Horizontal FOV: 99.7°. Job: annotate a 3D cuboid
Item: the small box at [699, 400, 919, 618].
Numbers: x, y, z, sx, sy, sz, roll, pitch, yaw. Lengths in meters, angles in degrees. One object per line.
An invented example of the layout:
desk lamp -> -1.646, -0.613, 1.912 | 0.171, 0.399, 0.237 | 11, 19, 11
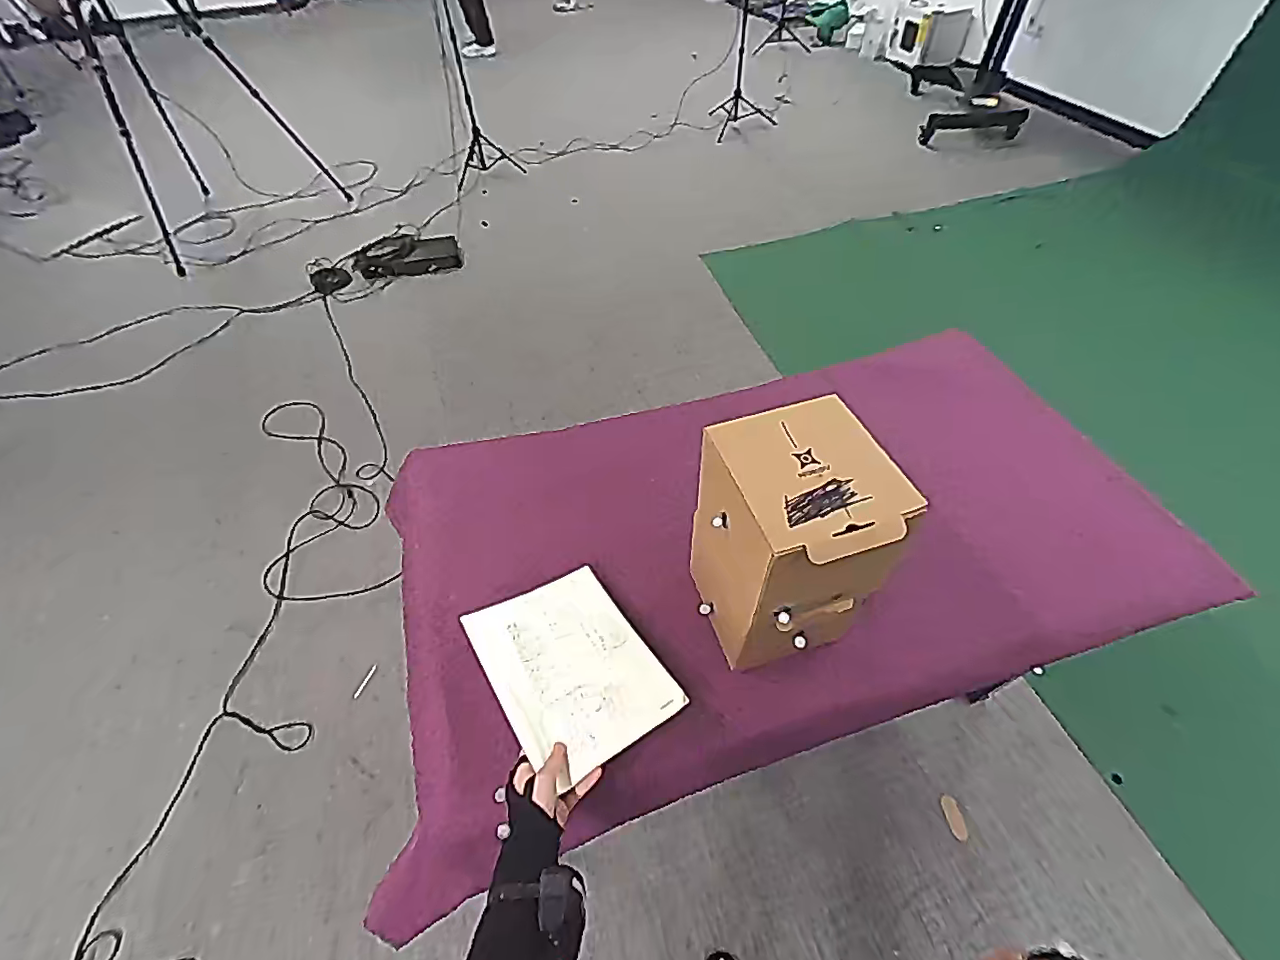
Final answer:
small box -> 0.175, 0.041, 0.624 | 0.168, 0.176, 0.179 | -14, 51, -9

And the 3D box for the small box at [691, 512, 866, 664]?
small box -> 0.178, 0.139, 0.757 | 0.168, 0.176, 0.179 | -14, 53, -10
